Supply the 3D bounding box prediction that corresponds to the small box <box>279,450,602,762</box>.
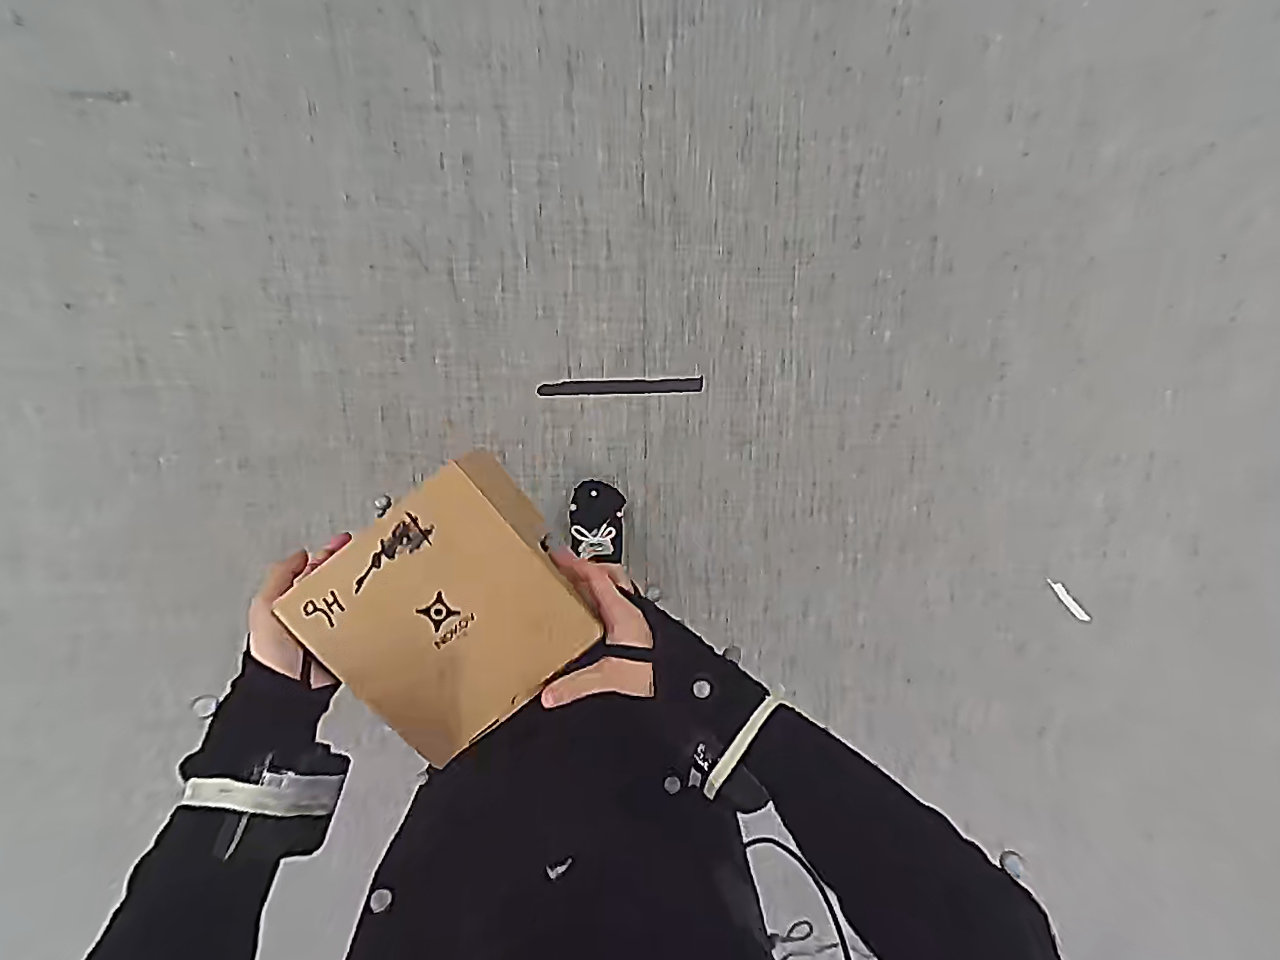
[{"bbox_3d":[-0.155,0.092,0.479,0.168,0.176,0.179,-37,105,-2],"label":"small box"}]
